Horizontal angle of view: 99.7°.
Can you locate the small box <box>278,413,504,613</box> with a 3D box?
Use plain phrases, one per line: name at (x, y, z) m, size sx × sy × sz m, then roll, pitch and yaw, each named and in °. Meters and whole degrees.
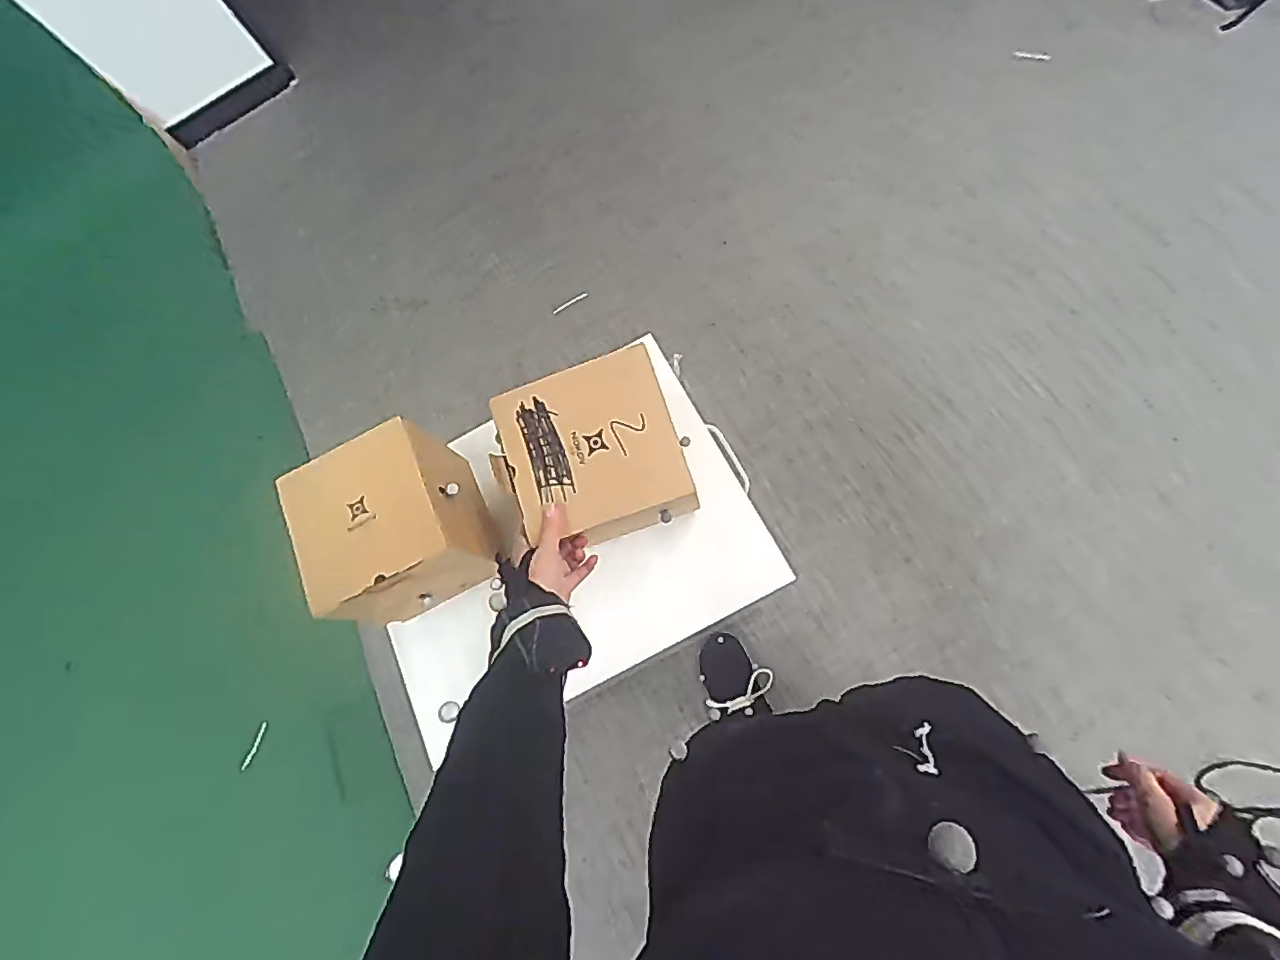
small box at (-0.295, 0.052, 0.669) m, size 0.168 × 0.176 × 0.179 m, roll -27°, pitch 73°, yaw 0°
